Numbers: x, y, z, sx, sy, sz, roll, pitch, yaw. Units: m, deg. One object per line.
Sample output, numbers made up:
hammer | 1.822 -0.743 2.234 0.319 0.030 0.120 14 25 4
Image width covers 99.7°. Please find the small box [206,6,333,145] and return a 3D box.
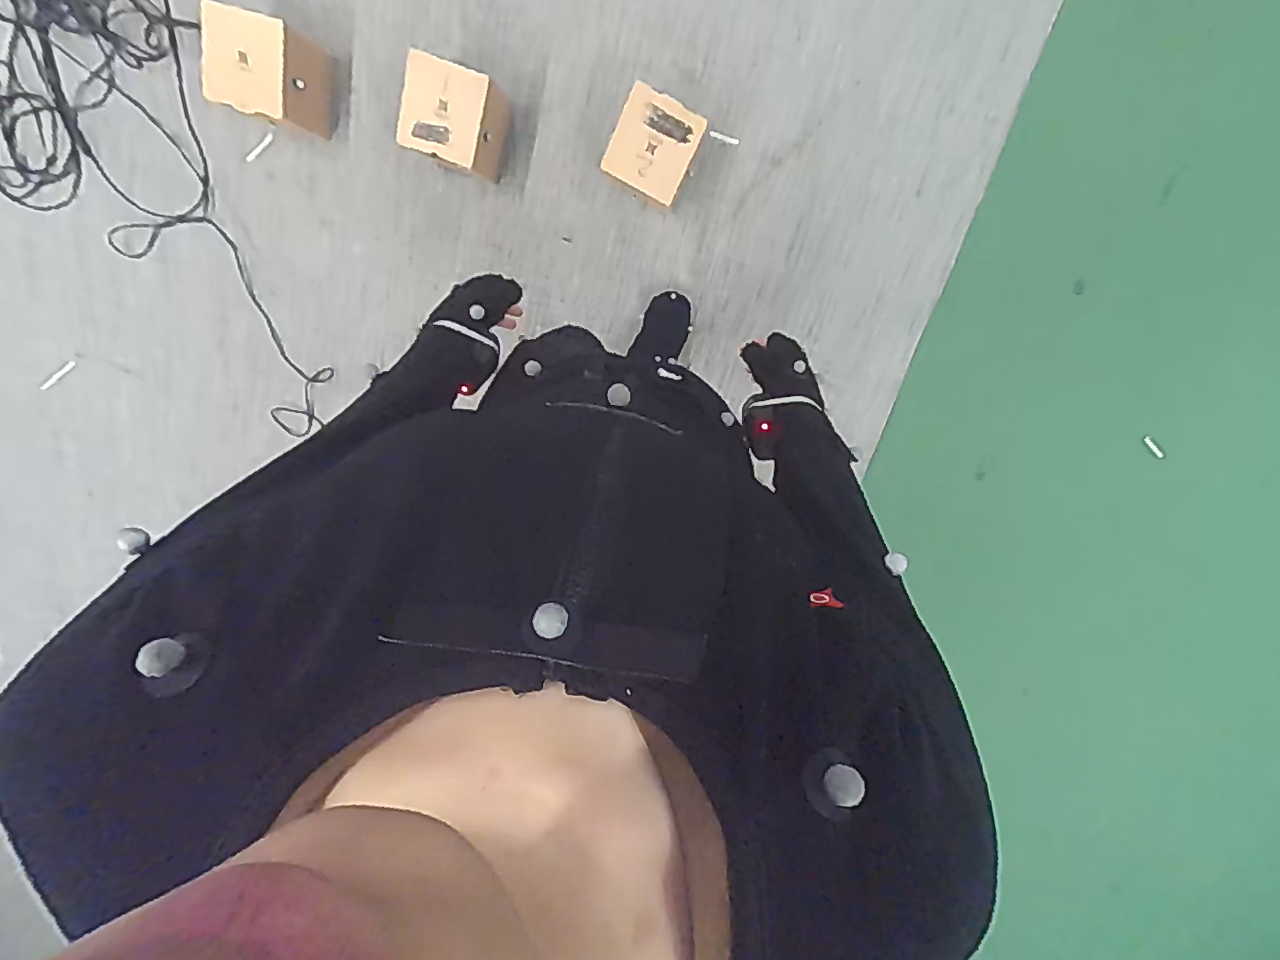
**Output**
small box | -0.790 -0.859 1.167 0.168 0.176 0.179 14 110 -1

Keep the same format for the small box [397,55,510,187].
small box | -0.398 -0.766 1.177 0.168 0.176 0.179 19 108 -3
